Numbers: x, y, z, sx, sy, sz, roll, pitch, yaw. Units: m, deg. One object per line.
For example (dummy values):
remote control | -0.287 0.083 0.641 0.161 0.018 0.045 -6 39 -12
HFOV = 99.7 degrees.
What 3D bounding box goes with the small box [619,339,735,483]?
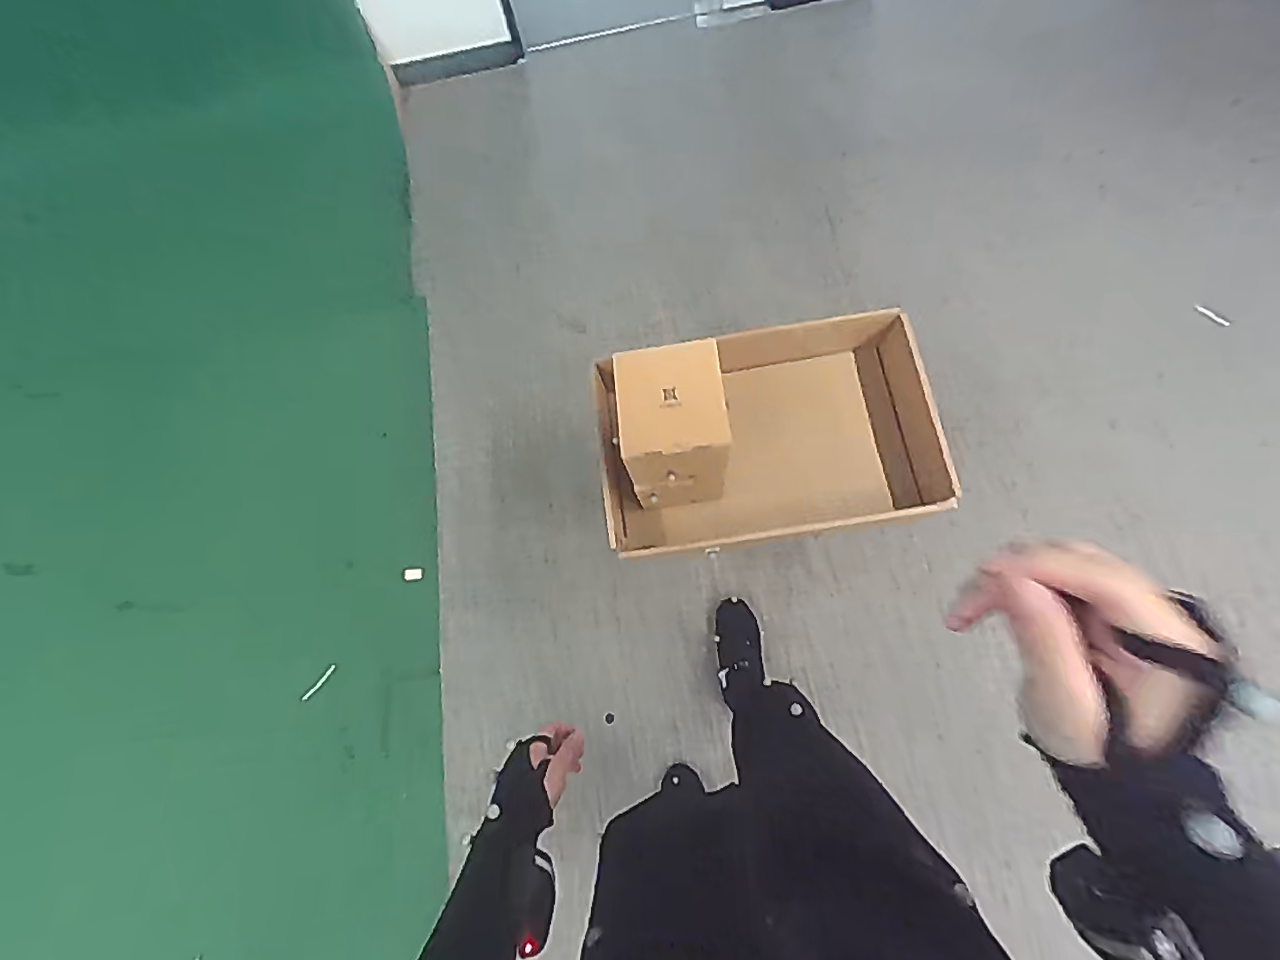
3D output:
small box | 0.059 -0.106 0.895 0.168 0.176 0.179 -7 74 4
